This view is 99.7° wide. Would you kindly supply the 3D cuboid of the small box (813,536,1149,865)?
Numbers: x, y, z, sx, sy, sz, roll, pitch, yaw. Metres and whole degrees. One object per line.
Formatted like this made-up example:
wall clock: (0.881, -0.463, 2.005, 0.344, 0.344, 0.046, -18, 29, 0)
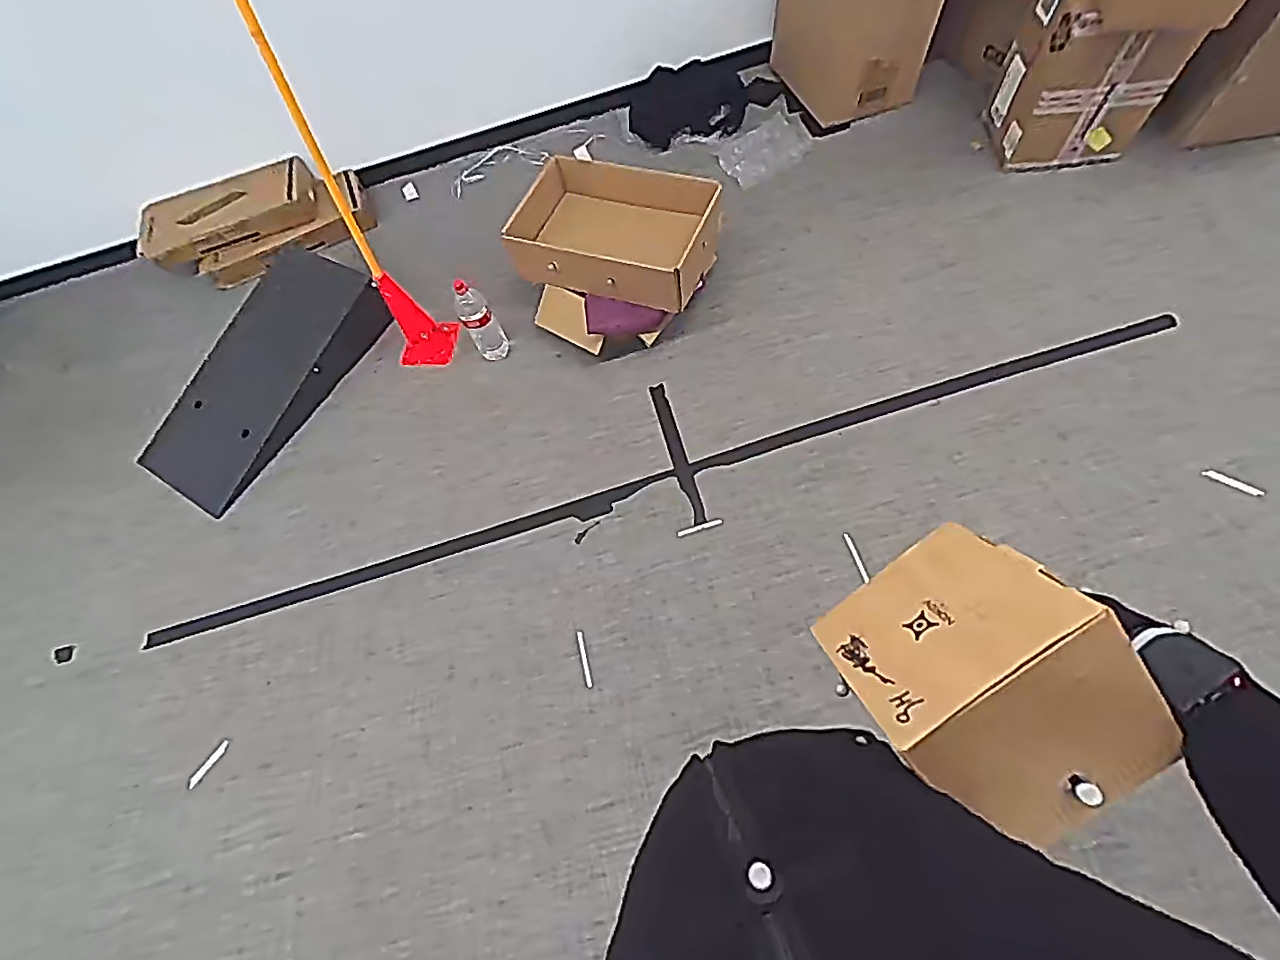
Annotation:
small box: (0.299, 0.189, 0.489, 0.179, 0.168, 0.176, -39, 106, 6)
